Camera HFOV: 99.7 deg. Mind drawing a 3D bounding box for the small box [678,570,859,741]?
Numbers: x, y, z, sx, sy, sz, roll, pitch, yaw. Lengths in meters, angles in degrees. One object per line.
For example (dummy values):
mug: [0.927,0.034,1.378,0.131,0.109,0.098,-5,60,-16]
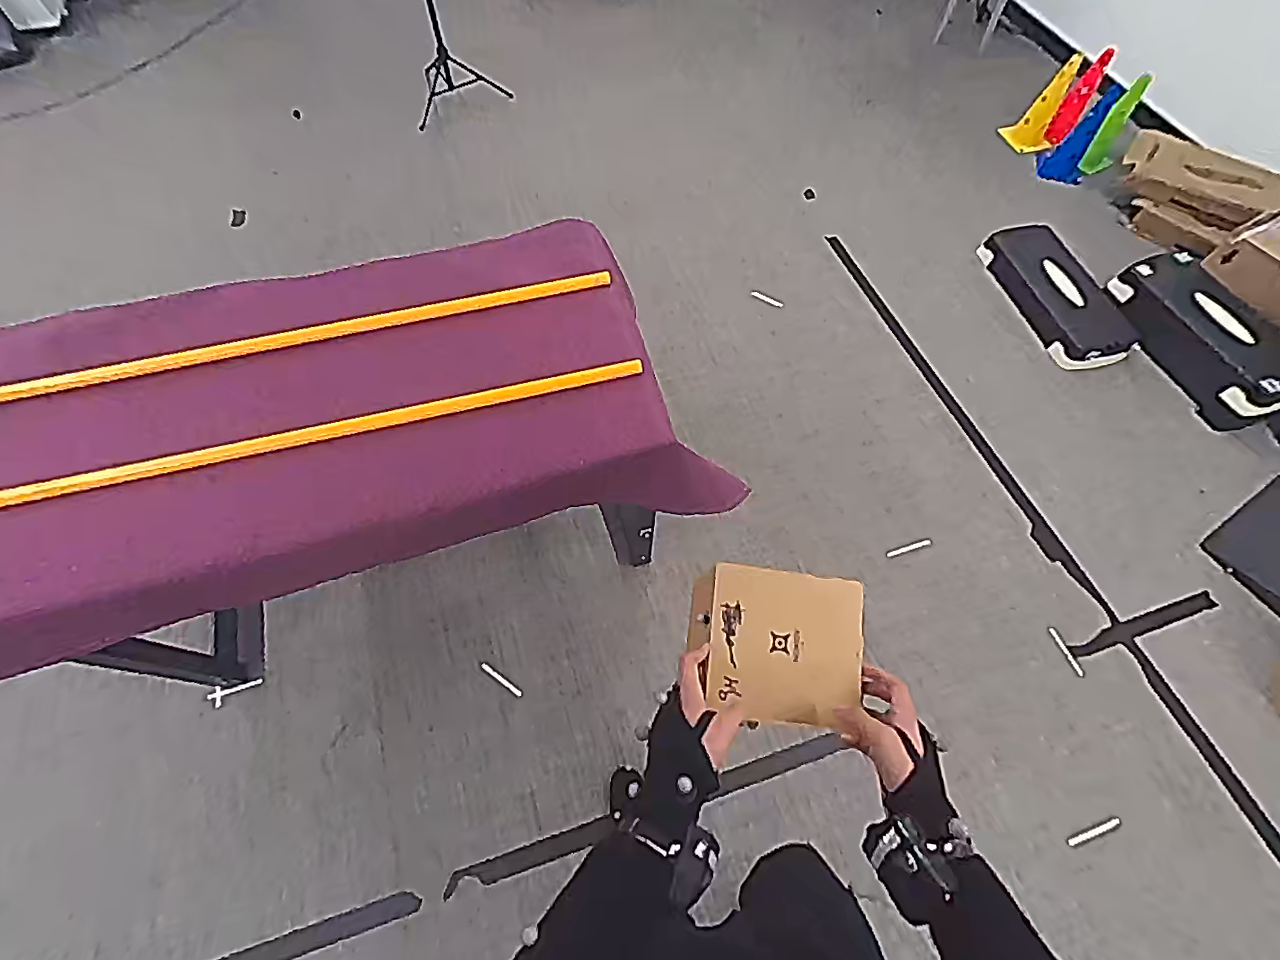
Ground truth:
small box: [0.154,0.217,0.684,0.179,0.176,0.168,9,72,-2]
